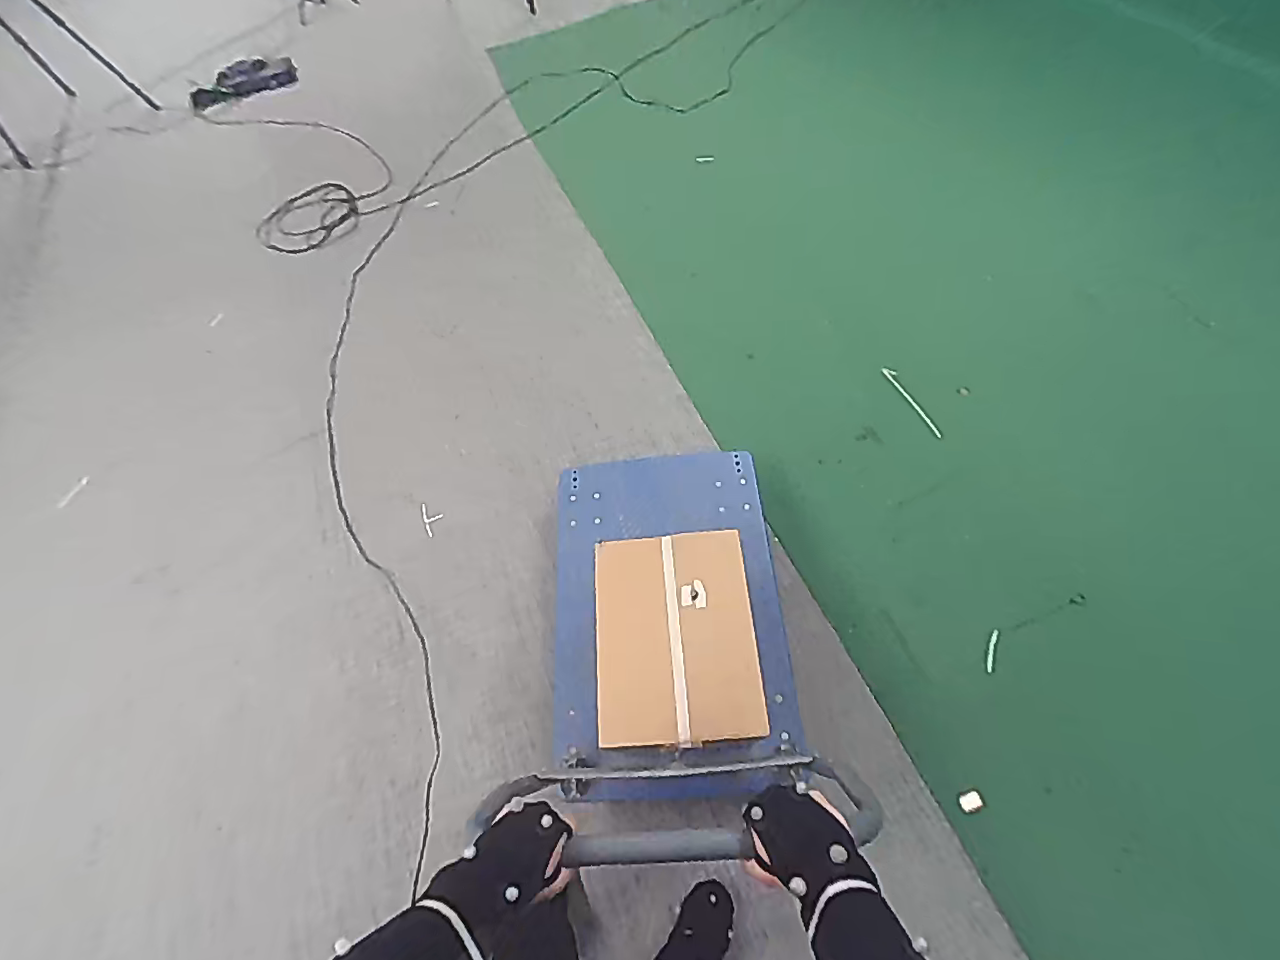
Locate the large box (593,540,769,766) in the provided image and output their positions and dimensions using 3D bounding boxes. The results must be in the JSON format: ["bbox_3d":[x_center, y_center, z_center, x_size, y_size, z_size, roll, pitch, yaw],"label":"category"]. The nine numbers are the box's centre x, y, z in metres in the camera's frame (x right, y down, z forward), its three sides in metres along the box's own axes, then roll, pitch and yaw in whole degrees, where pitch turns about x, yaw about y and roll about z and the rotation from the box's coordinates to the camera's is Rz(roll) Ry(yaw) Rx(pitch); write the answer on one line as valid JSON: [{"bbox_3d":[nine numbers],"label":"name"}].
[{"bbox_3d":[0.081,0.390,1.199,0.320,0.320,0.408,-6,60,2],"label":"large box"}]
